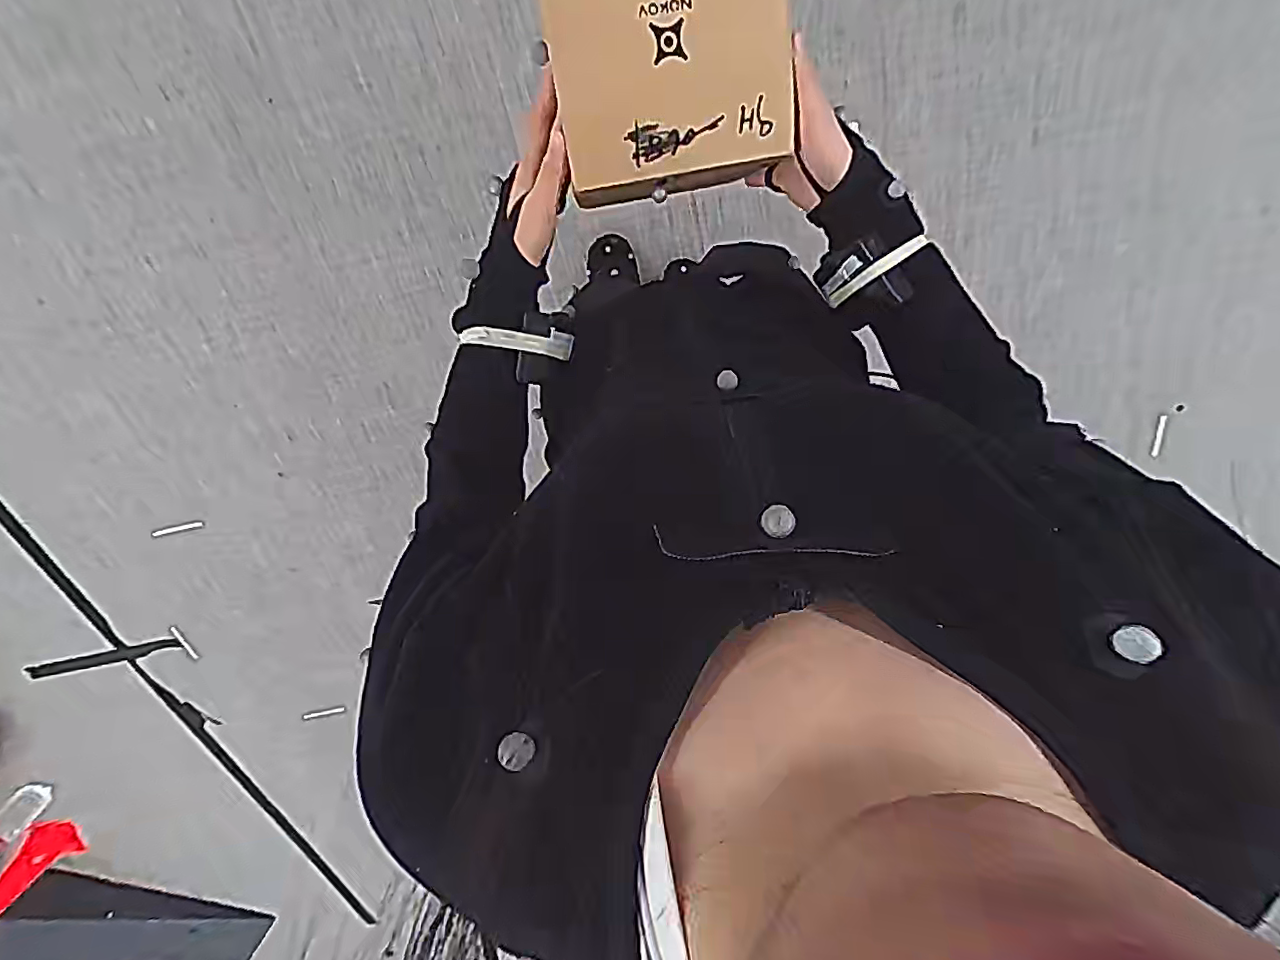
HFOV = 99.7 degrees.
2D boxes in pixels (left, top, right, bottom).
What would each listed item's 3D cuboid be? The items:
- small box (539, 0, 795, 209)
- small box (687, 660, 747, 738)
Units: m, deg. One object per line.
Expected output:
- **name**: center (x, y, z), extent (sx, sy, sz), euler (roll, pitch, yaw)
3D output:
- **small box**: center (0.012, -0.330, 0.431), extent (0.168, 0.176, 0.179), euler (-10, 113, -1)
- **small box**: center (0.270, 0.771, 1.912), extent (0.168, 0.176, 0.179), euler (-14, 116, 2)
